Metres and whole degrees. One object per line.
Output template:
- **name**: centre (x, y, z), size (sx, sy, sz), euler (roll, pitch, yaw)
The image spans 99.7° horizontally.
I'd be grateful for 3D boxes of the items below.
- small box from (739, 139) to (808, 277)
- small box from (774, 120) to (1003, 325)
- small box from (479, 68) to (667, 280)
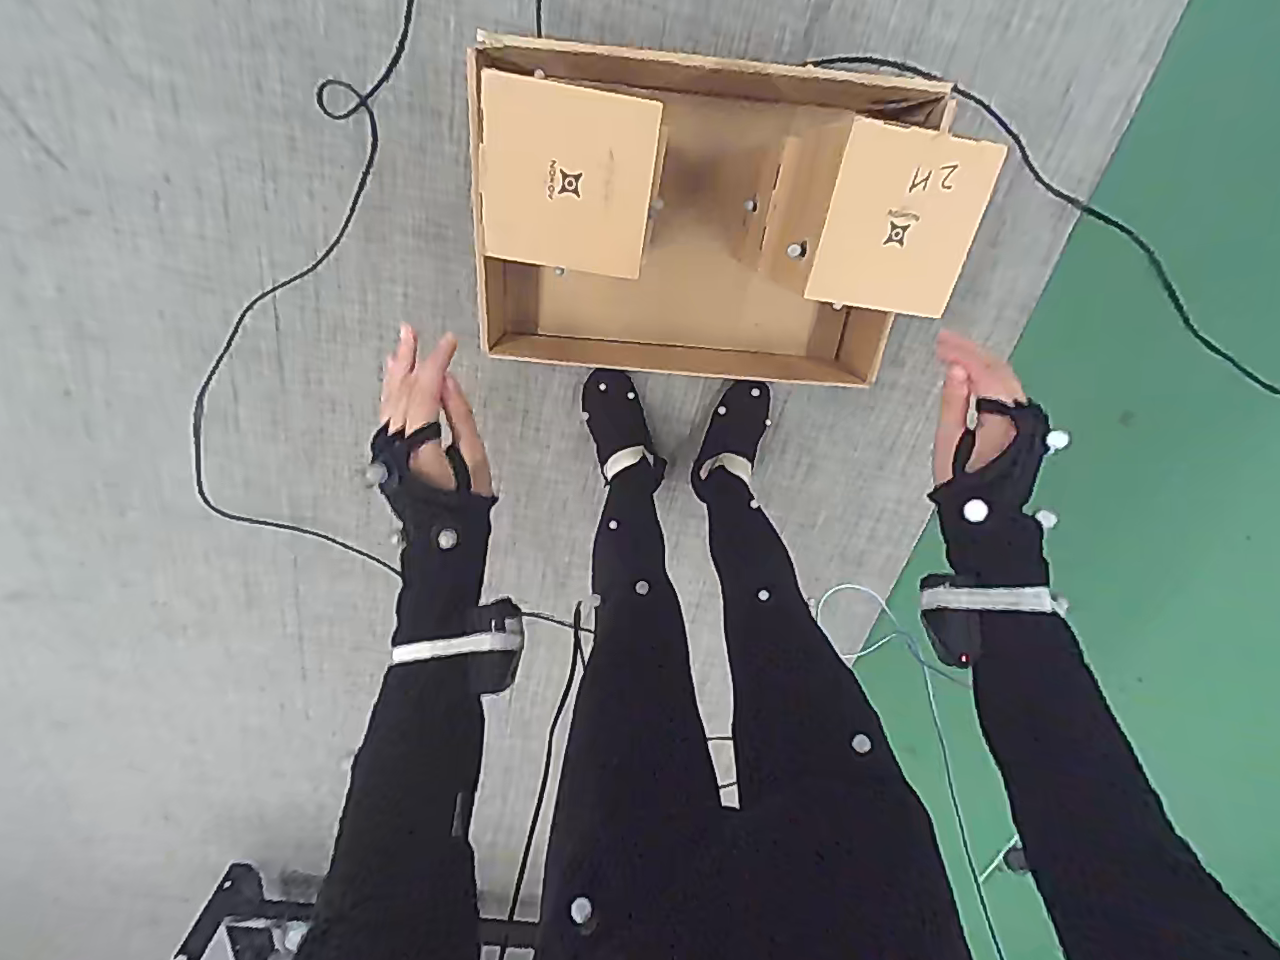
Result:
- **small box**: centre (0.255, -0.379, 0.791), size (0.179, 0.176, 0.168), euler (8, 116, -5)
- **small box**: centre (0.273, -0.301, 0.646), size (0.168, 0.176, 0.179), euler (7, 116, -6)
- **small box**: centre (-0.074, -0.340, 0.620), size (0.179, 0.176, 0.168), euler (8, 118, -6)
